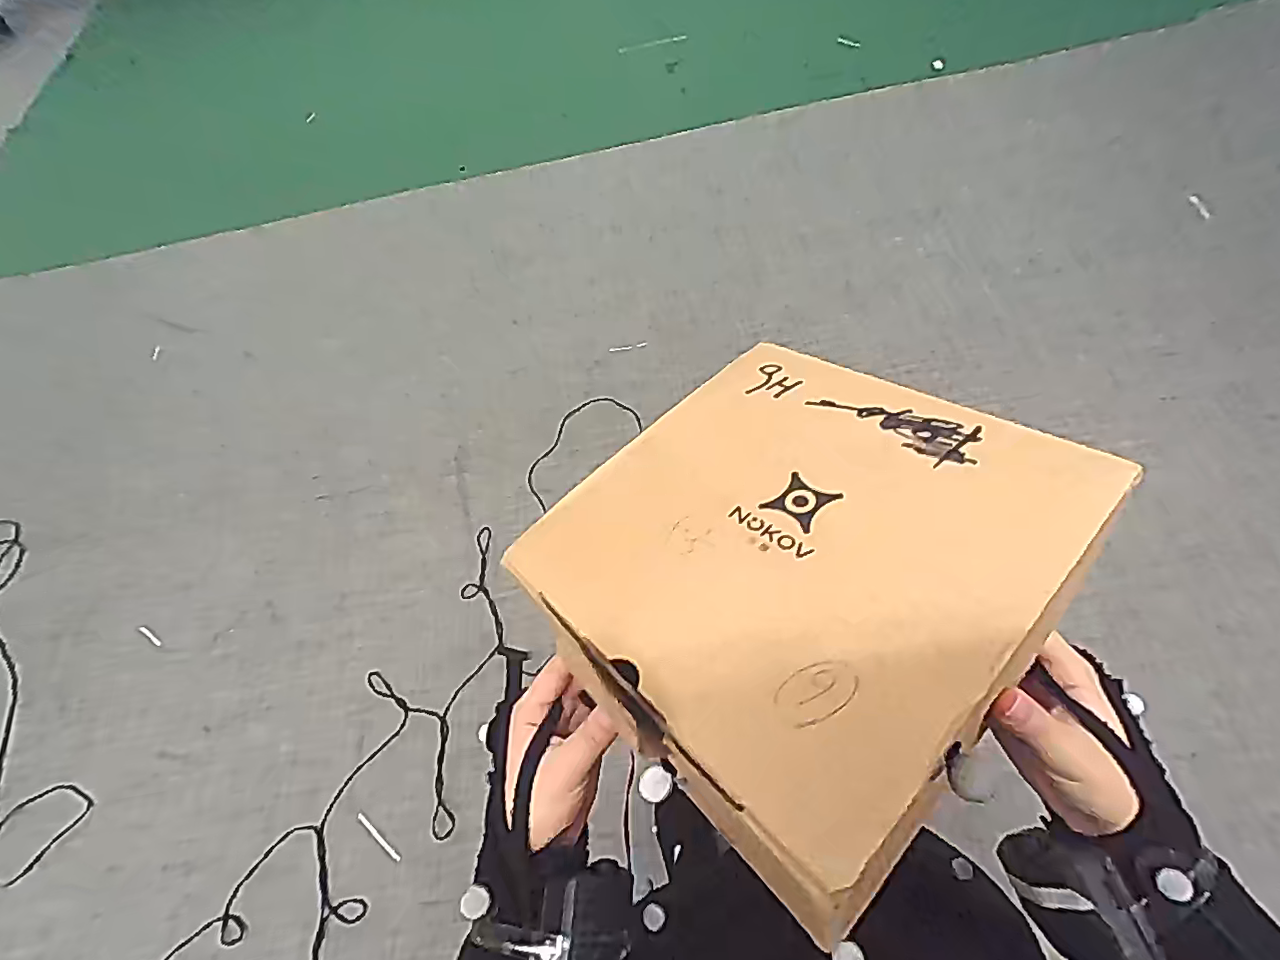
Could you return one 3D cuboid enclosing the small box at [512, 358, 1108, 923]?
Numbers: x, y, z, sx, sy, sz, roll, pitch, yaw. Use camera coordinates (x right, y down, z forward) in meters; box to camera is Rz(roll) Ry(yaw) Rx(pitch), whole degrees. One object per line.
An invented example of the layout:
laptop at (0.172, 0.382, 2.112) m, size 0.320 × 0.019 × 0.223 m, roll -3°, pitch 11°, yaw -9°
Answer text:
small box at (0.075, 0.074, 0.271) m, size 0.179 × 0.176 × 0.168 m, roll -40°, pitch 48°, yaw -20°
